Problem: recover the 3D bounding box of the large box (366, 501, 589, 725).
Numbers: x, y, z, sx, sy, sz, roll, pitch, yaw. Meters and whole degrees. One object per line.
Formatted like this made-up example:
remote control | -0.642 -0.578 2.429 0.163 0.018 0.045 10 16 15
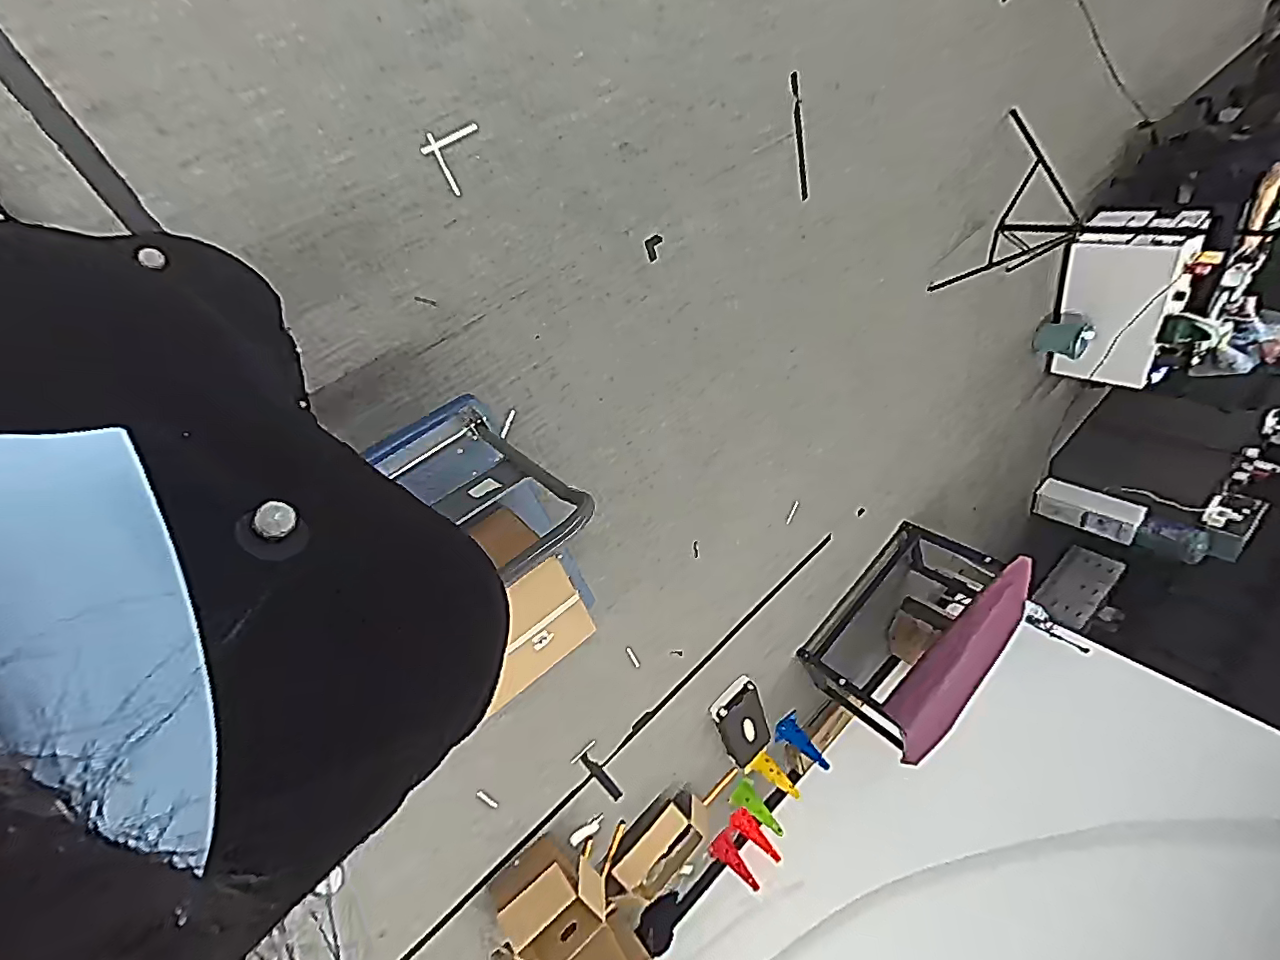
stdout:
large box | -0.415 0.326 1.407 0.408 0.320 0.320 -36 130 -21
